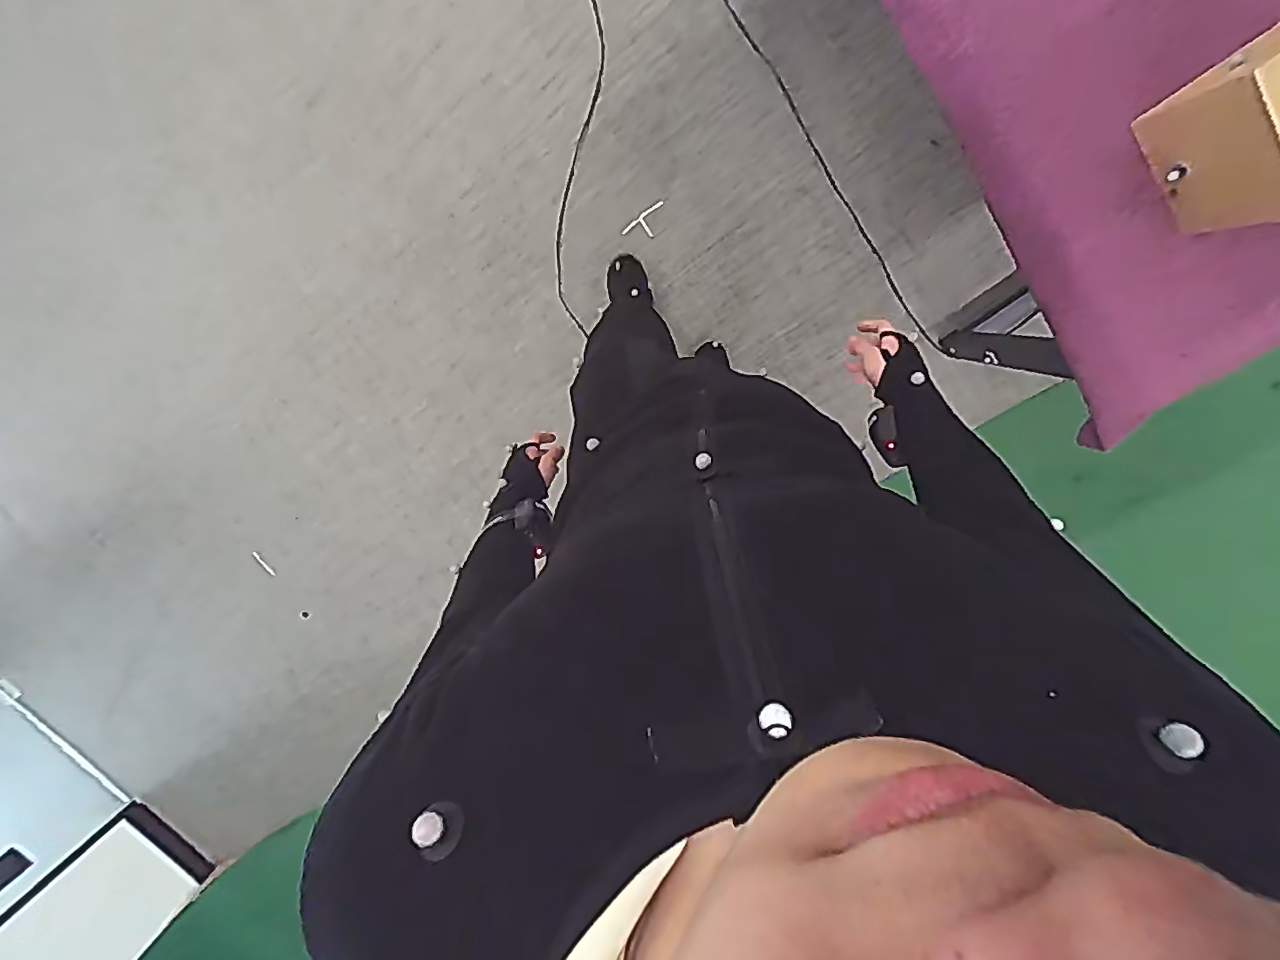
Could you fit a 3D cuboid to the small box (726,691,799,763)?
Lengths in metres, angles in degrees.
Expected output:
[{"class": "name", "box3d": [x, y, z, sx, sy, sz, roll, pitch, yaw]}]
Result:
[{"class": "small box", "box3d": [0.399, 0.838, 1.780, 0.168, 0.176, 0.179, -31, 101, 14]}]

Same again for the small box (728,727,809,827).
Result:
[{"class": "small box", "box3d": [0.380, 0.887, 1.625, 0.168, 0.176, 0.179, -32, 101, 14]}]
